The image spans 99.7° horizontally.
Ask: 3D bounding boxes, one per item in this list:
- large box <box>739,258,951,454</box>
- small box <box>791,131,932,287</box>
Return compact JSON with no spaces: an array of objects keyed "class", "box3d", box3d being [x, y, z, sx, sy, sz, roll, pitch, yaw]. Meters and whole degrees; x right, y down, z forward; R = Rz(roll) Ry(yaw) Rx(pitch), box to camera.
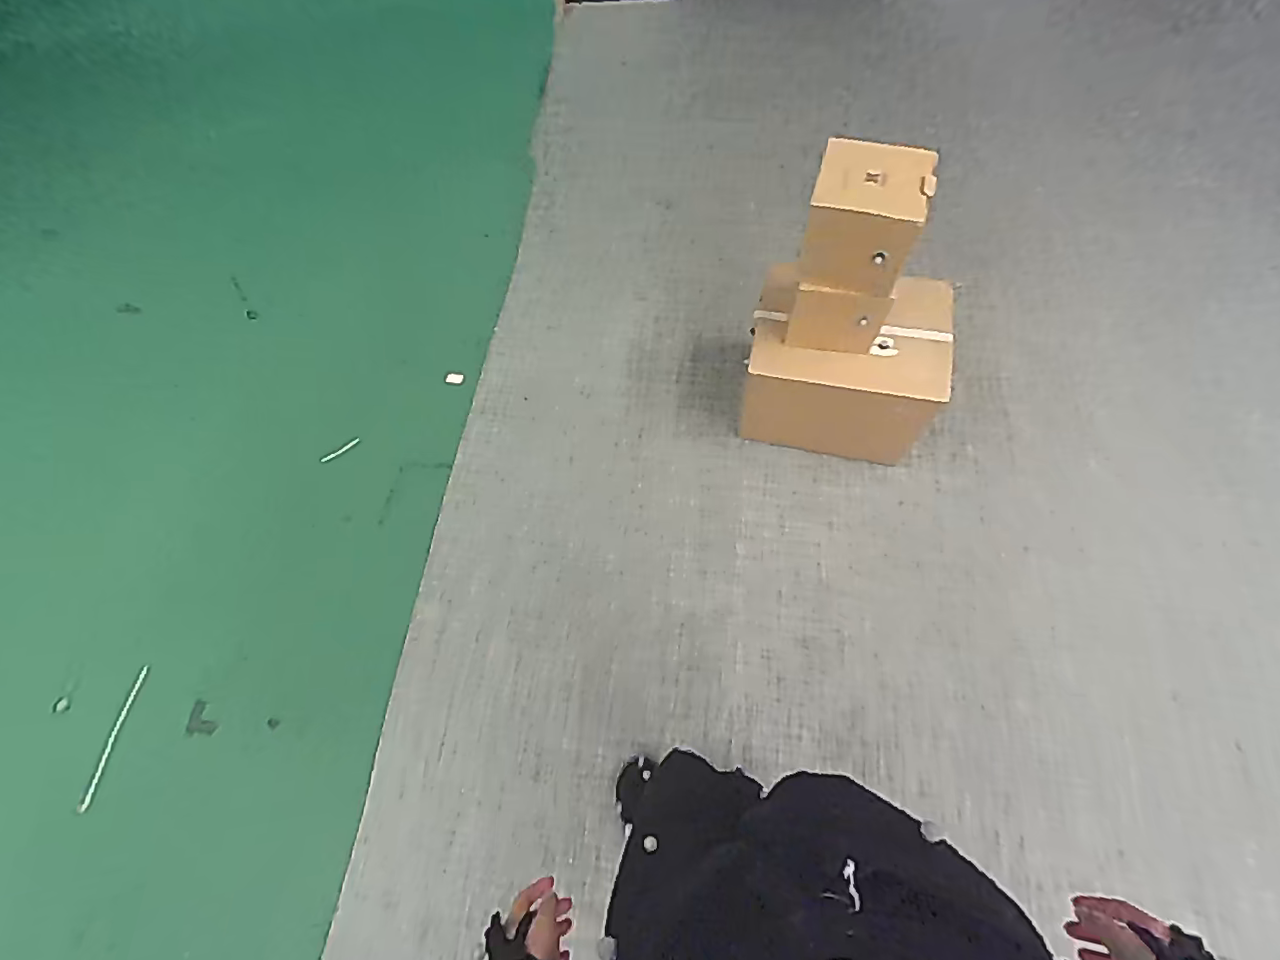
[{"class":"large box","box3d":[0.465,-0.286,1.296,0.408,0.320,0.320,10,70,9]},{"class":"small box","box3d":[0.374,-0.462,0.936,0.179,0.176,0.168,14,69,12]}]
